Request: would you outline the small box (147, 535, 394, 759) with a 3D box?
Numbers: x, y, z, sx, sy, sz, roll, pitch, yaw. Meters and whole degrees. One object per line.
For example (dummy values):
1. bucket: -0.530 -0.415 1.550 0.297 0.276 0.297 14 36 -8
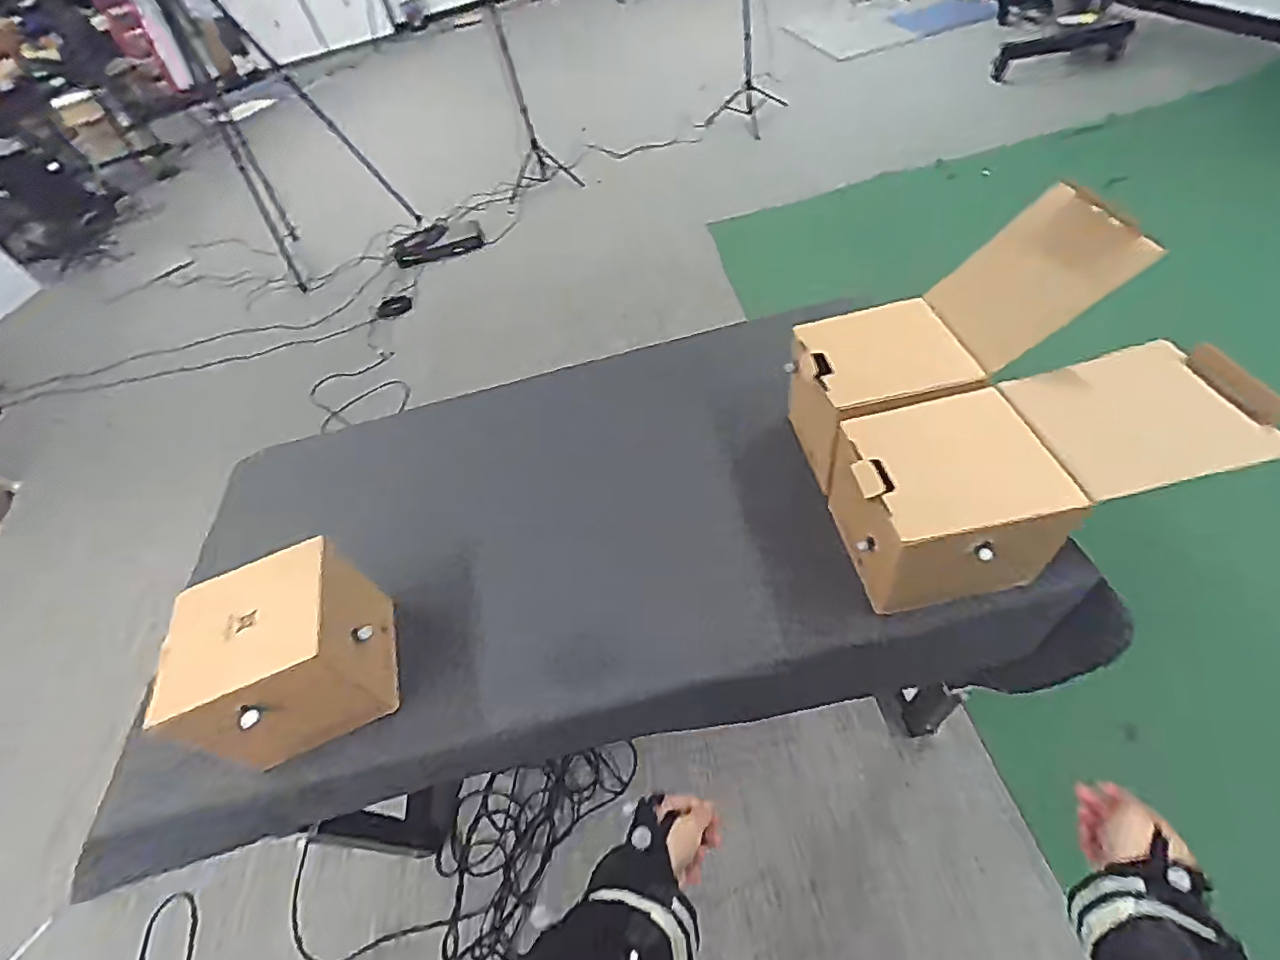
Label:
1. small box: -0.411 0.201 0.642 0.179 0.176 0.168 -23 49 -5
